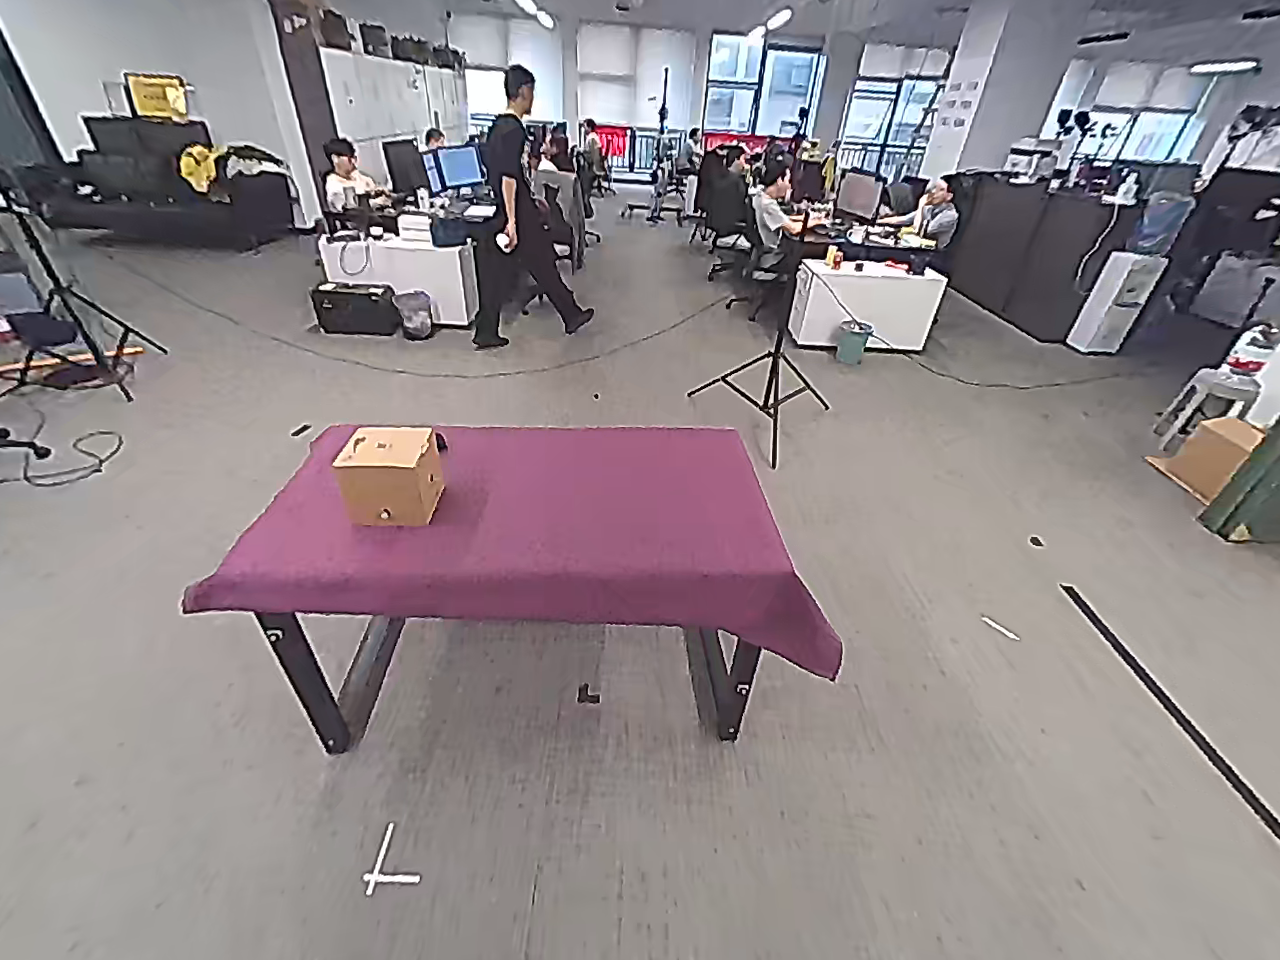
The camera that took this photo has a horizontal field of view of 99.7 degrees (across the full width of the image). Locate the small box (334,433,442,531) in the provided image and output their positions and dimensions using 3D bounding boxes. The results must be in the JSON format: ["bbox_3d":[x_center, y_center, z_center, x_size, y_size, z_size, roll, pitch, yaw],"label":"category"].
[{"bbox_3d":[-0.575,0.006,1.265,0.179,0.176,0.168,1,34,-5],"label":"small box"}]
